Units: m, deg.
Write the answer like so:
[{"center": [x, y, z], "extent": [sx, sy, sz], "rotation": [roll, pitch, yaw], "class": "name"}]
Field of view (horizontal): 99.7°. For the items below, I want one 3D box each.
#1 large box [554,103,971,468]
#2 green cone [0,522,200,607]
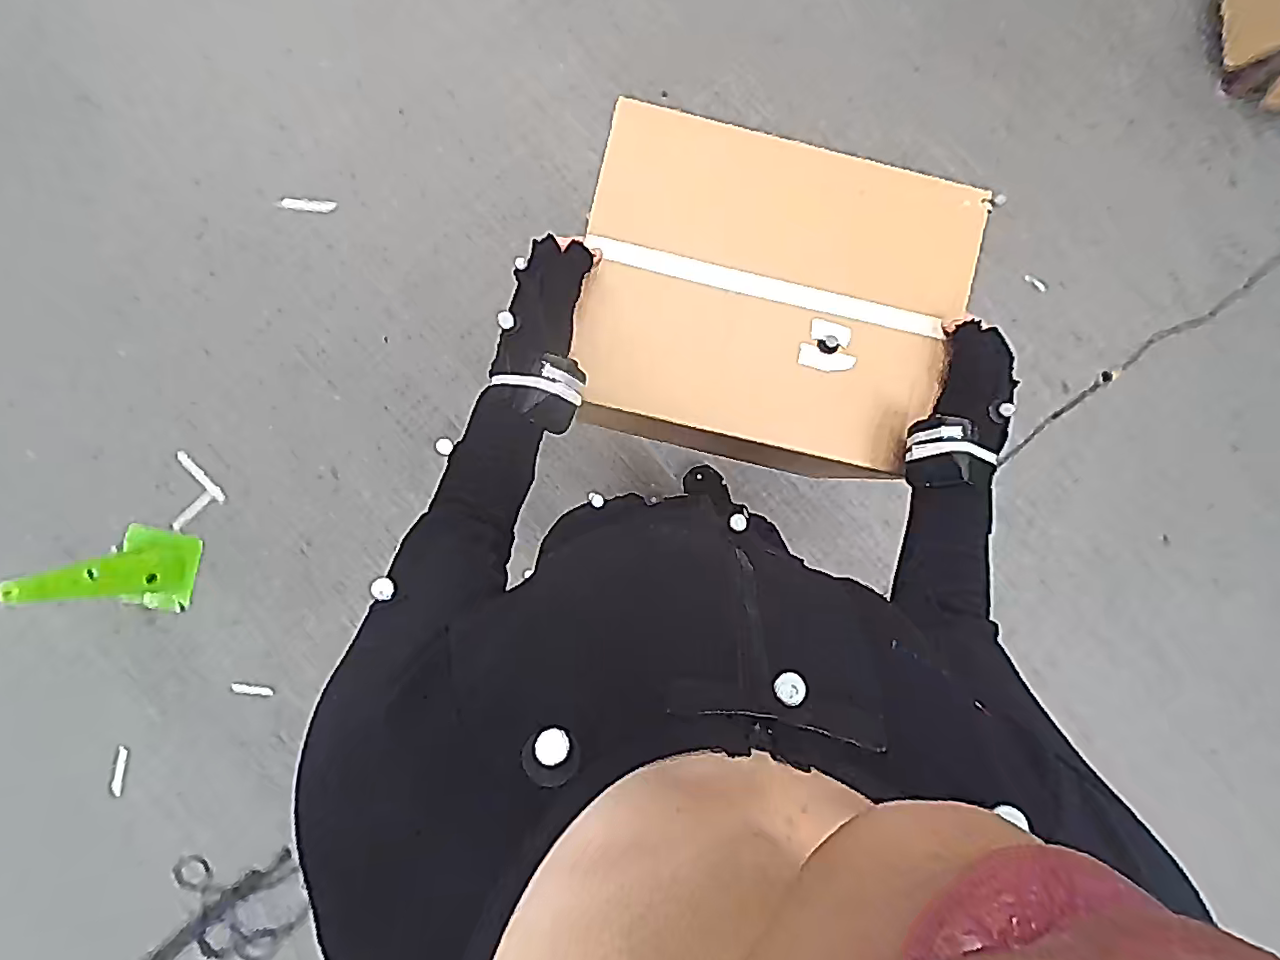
[{"center": [0.123, -0.205, 0.715], "extent": [0.408, 0.320, 0.320], "rotation": [12, 90, -3], "class": "large box"}, {"center": [-1.275, 0.216, 1.259], "extent": [0.202, 0.368, 0.200], "rotation": [12, 88, 0], "class": "green cone"}]
